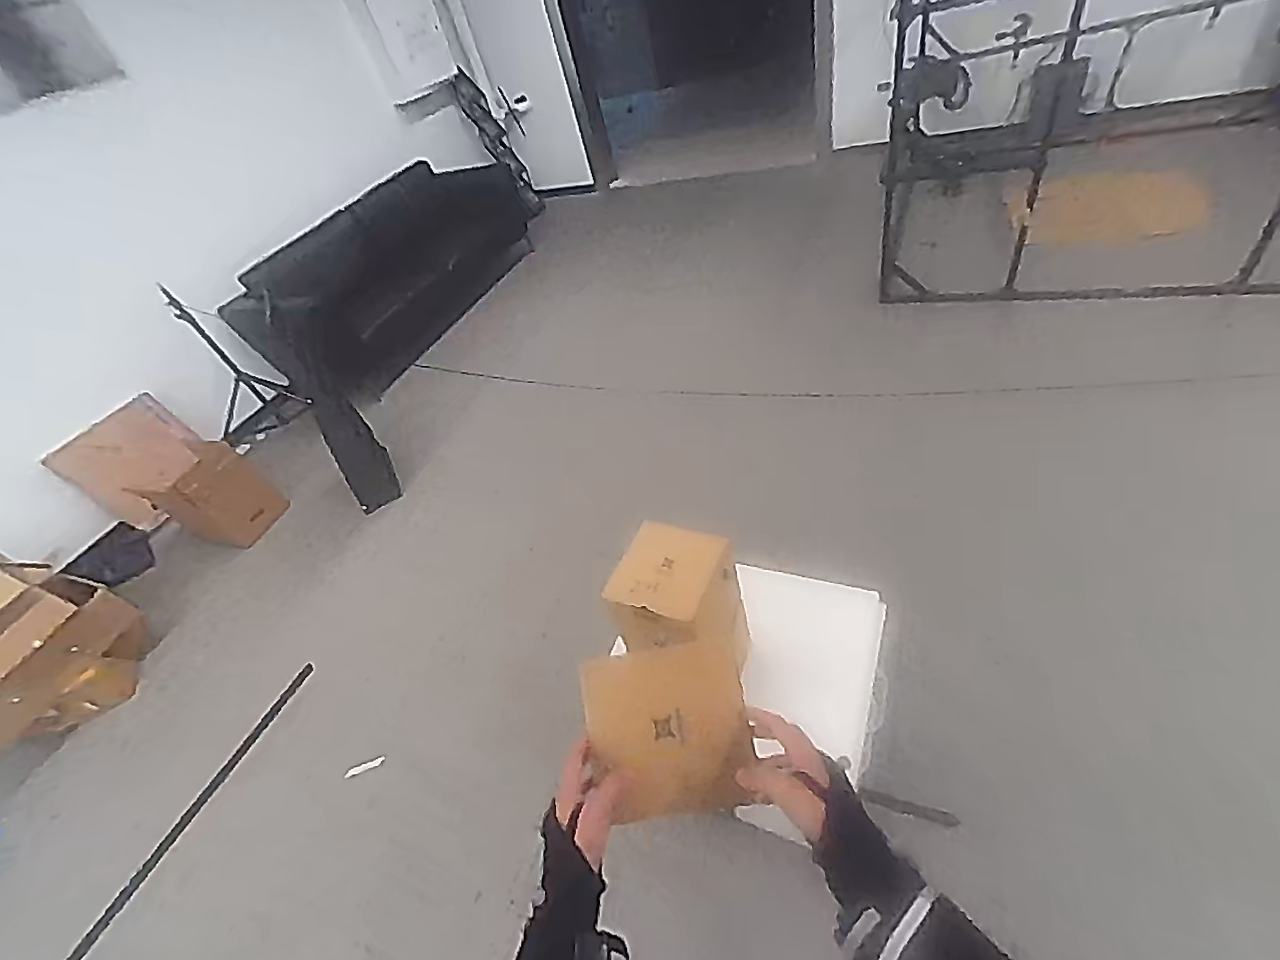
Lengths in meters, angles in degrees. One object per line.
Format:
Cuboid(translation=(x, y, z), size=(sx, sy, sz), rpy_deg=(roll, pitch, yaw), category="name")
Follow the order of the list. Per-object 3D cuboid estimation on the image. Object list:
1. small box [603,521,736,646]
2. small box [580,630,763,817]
Cuboid(translation=(0.062, 0.202, 0.947), size=(0.168, 0.176, 0.179), rpy_deg=(10, 49, 29), category="small box")
Cuboid(translation=(0.040, 0.282, 0.650), size=(0.179, 0.176, 0.168), rpy_deg=(-11, 71, 4), category="small box")
